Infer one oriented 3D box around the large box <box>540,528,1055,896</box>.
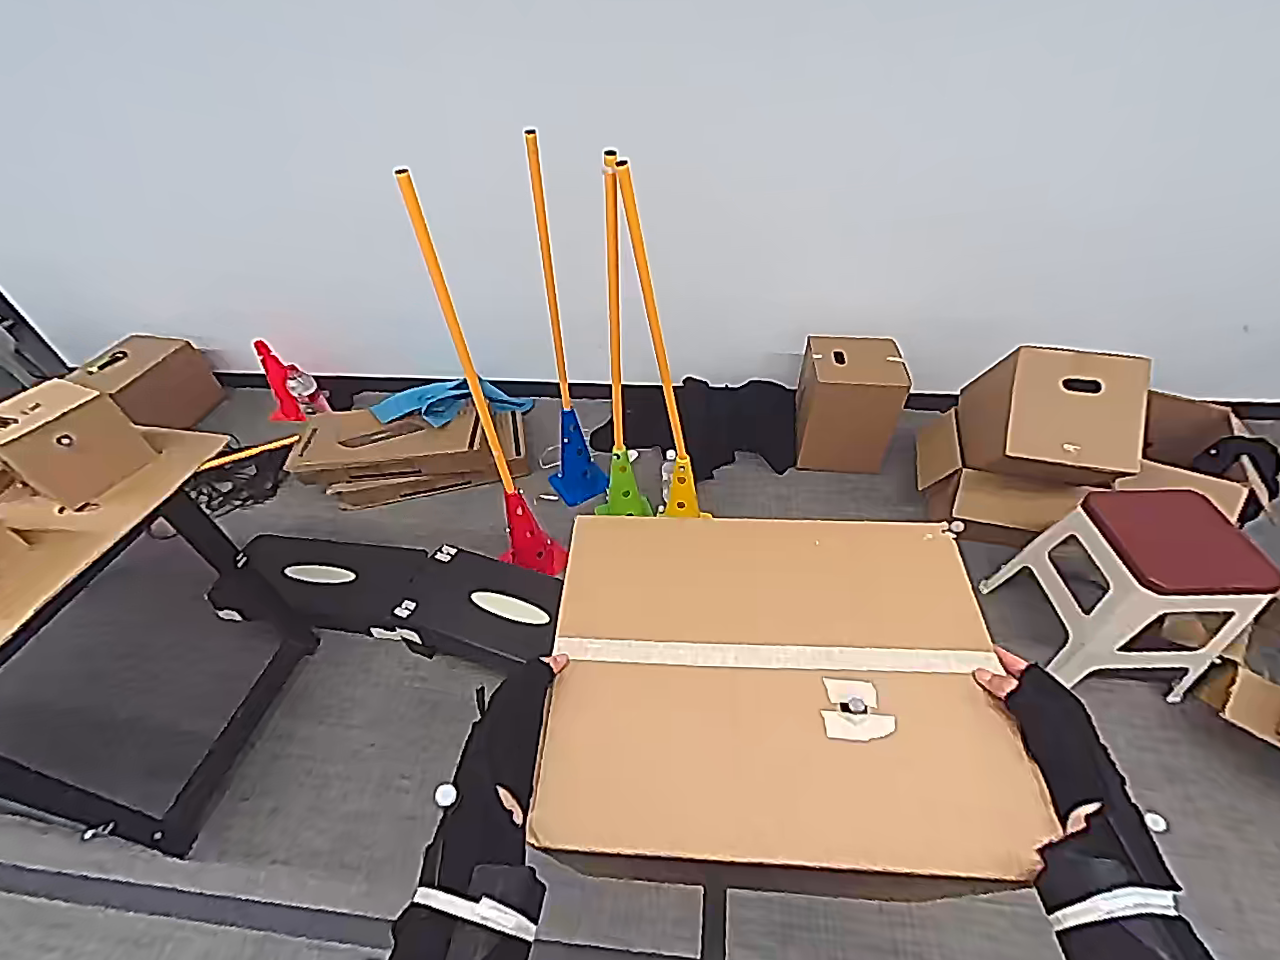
[{"bbox_3d":[0.129,0.270,0.624,0.408,0.320,0.320,1,51,4],"label":"large box"}]
